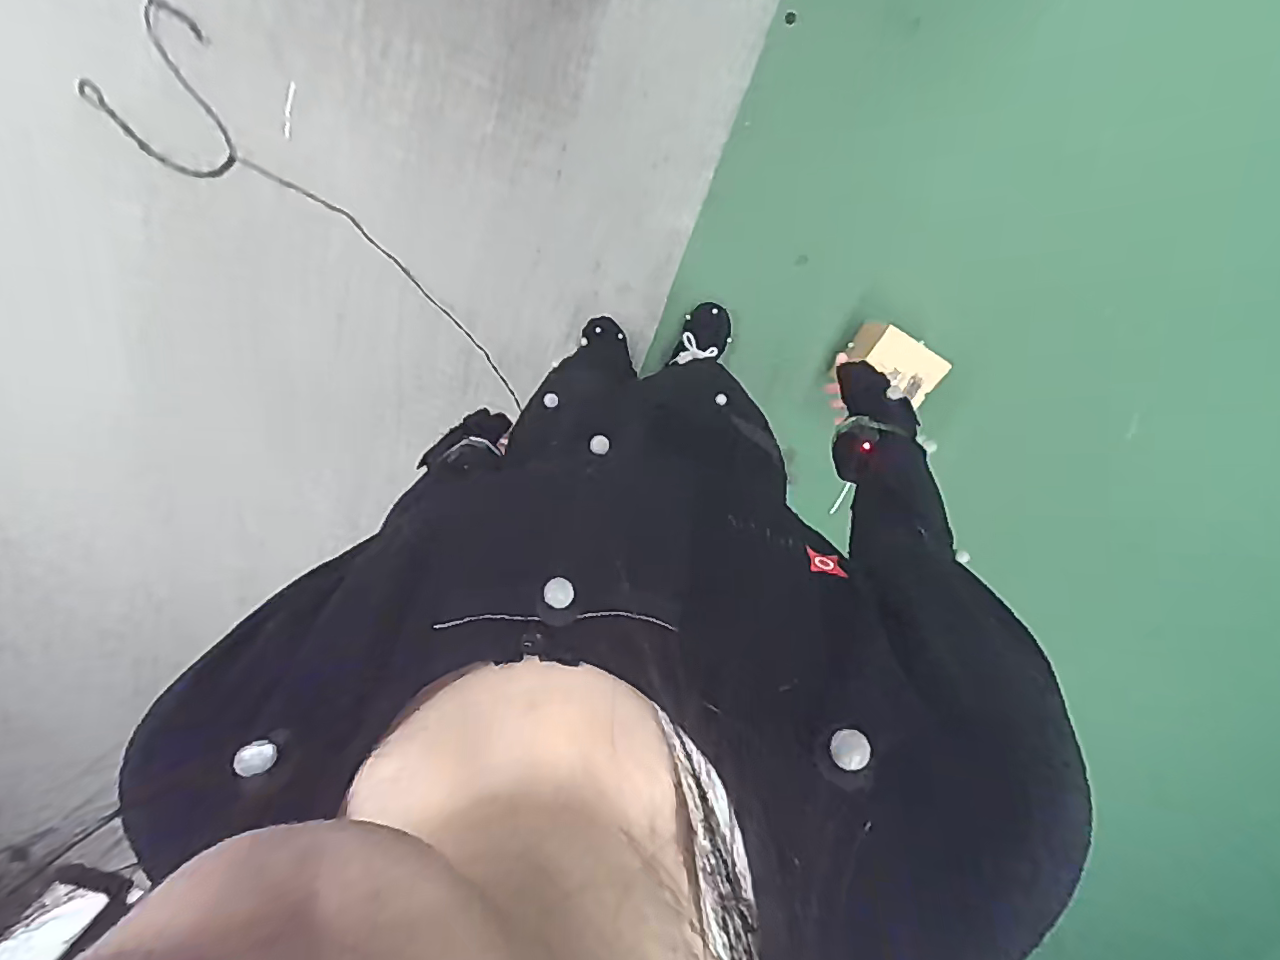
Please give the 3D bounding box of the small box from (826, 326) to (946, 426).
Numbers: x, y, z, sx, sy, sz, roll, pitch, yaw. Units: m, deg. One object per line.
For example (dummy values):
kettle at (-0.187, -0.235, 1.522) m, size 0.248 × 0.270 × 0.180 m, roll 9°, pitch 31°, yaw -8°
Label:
small box at (0.586, -0.261, 1.313) m, size 0.179 × 0.176 × 0.168 m, roll 31°, pitch 109°, yaw -7°
